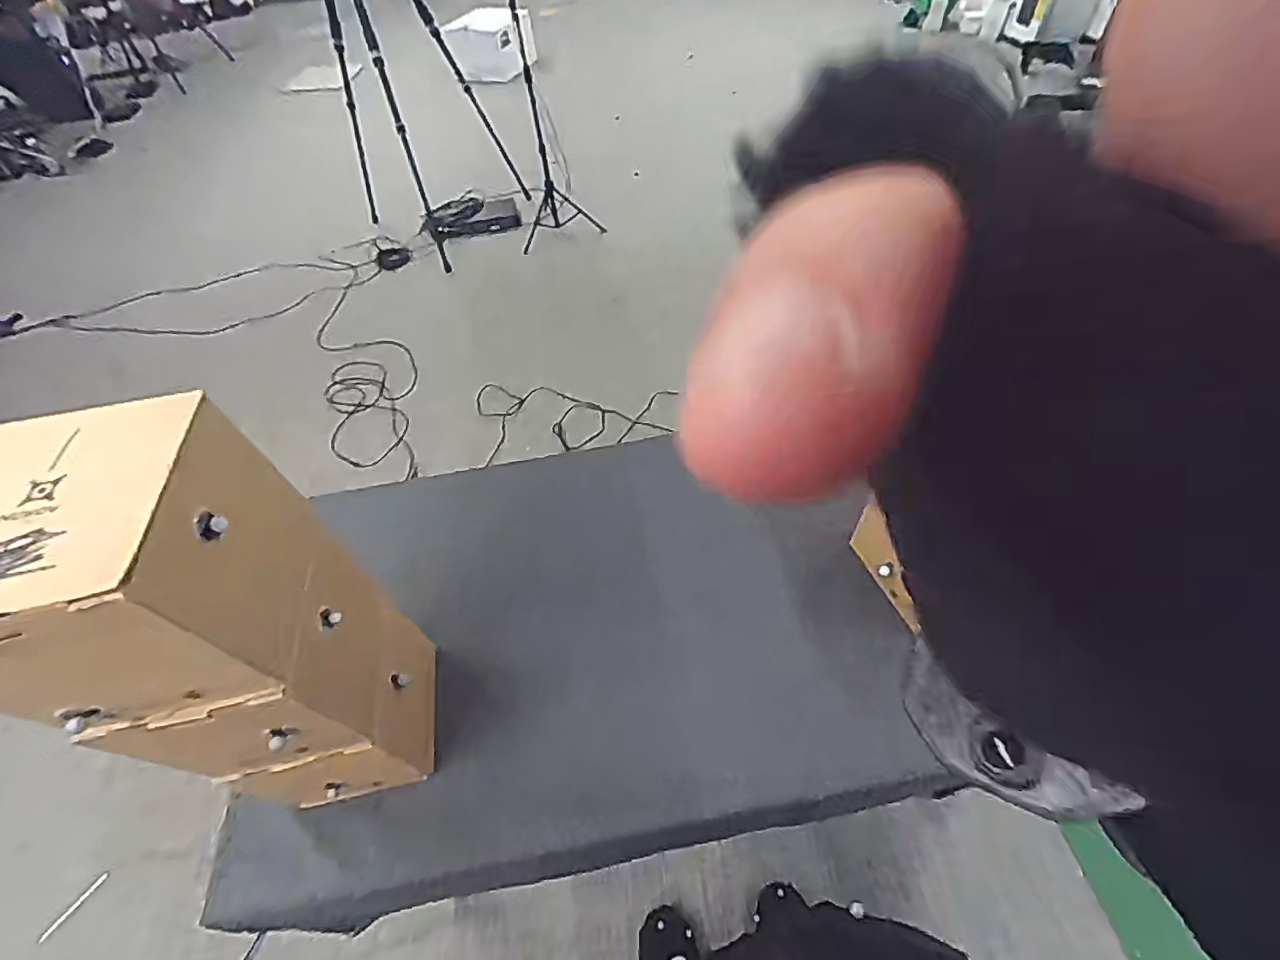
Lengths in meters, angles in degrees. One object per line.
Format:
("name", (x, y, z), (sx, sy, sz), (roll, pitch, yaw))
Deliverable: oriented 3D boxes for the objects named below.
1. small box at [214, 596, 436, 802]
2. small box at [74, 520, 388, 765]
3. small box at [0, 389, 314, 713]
("small box", (-0.362, 0.270, 0.664), (0.168, 0.176, 0.179), (-11, 53, -4))
("small box", (-0.371, 0.168, 0.538), (0.168, 0.176, 0.179), (-10, 52, -4))
("small box", (-0.382, 0.062, 0.413), (0.168, 0.176, 0.179), (-11, 52, -6))
